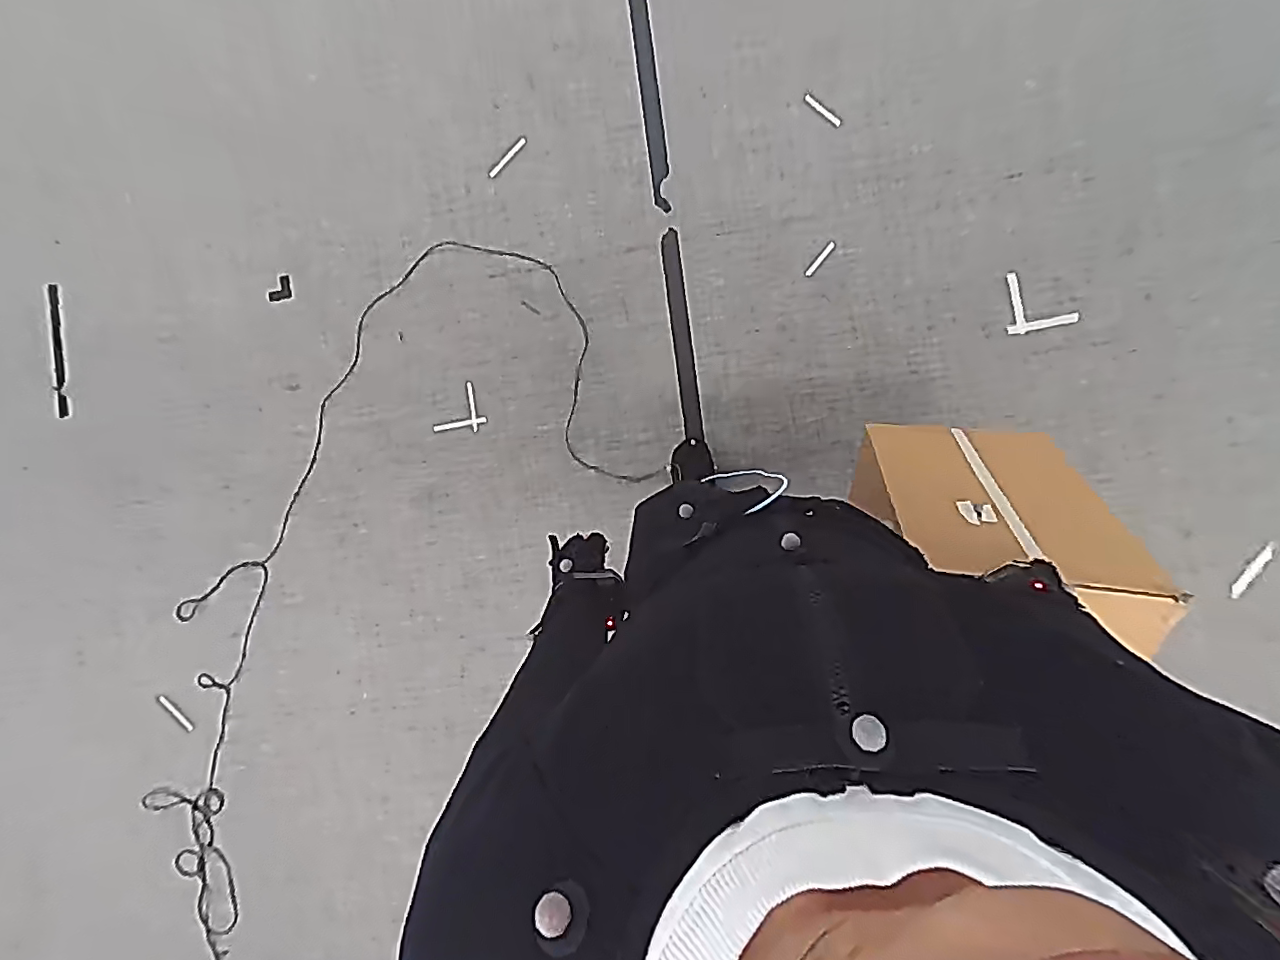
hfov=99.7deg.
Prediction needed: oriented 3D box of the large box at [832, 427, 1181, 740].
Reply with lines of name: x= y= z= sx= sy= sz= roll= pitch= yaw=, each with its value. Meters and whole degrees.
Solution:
large box: x=0.536 y=0.149 z=0.915 sx=0.320 sy=0.408 sz=0.320 roll=5 pitch=125 yaw=9
